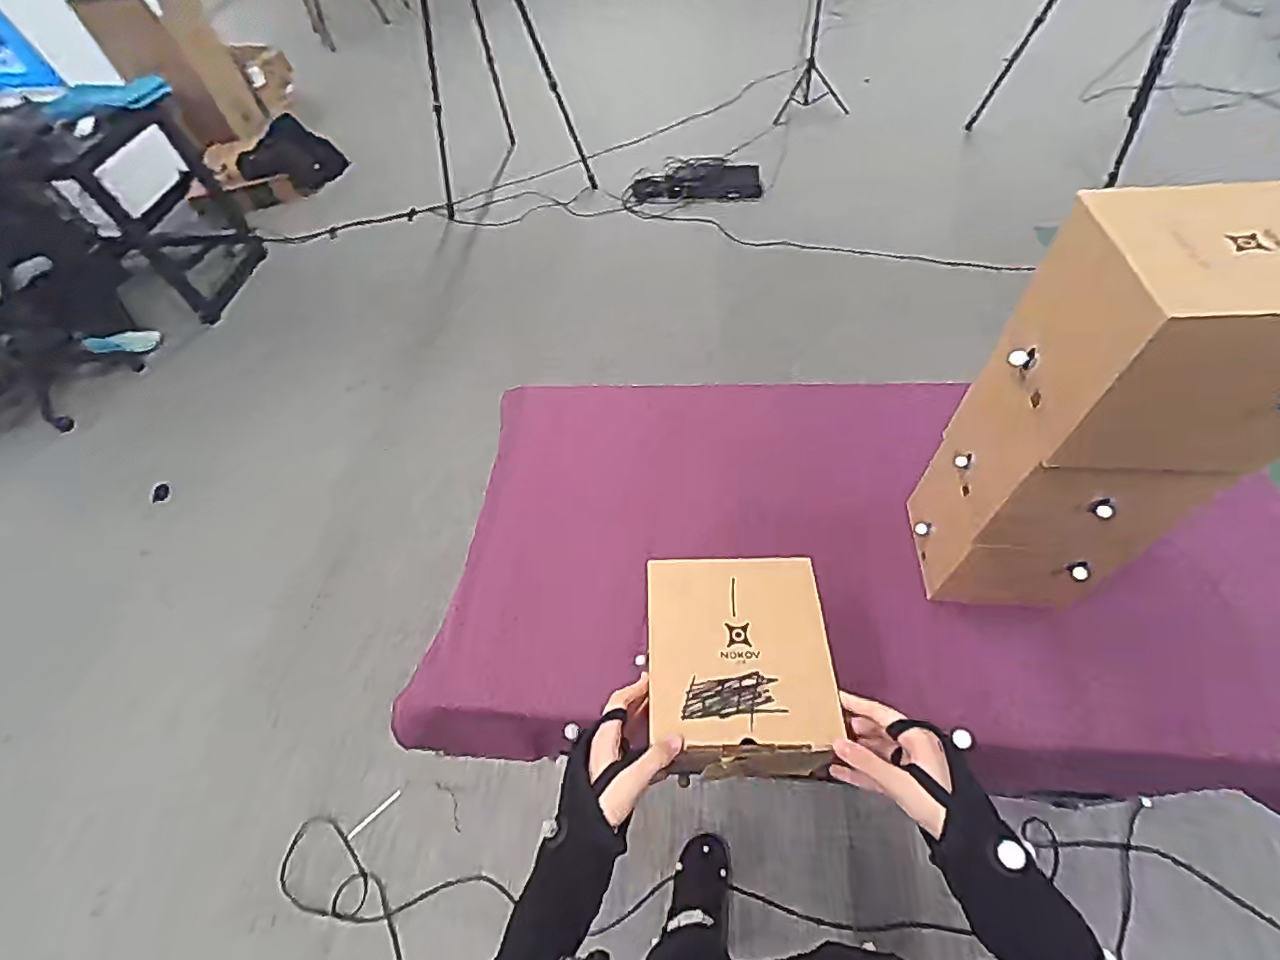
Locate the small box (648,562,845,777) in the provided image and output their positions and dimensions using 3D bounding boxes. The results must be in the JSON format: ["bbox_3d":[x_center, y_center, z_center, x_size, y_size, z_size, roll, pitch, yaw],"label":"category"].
[{"bbox_3d":[0.093,0.201,0.560,0.168,0.176,0.179,-1,54,1],"label":"small box"}]

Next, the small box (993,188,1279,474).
[{"bbox_3d":[0.442,-0.117,0.453,0.179,0.176,0.168,1,54,8],"label":"small box"}]

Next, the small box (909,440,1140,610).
[{"bbox_3d":[0.489,0.064,0.723,0.179,0.176,0.168,1,54,8],"label":"small box"}]
